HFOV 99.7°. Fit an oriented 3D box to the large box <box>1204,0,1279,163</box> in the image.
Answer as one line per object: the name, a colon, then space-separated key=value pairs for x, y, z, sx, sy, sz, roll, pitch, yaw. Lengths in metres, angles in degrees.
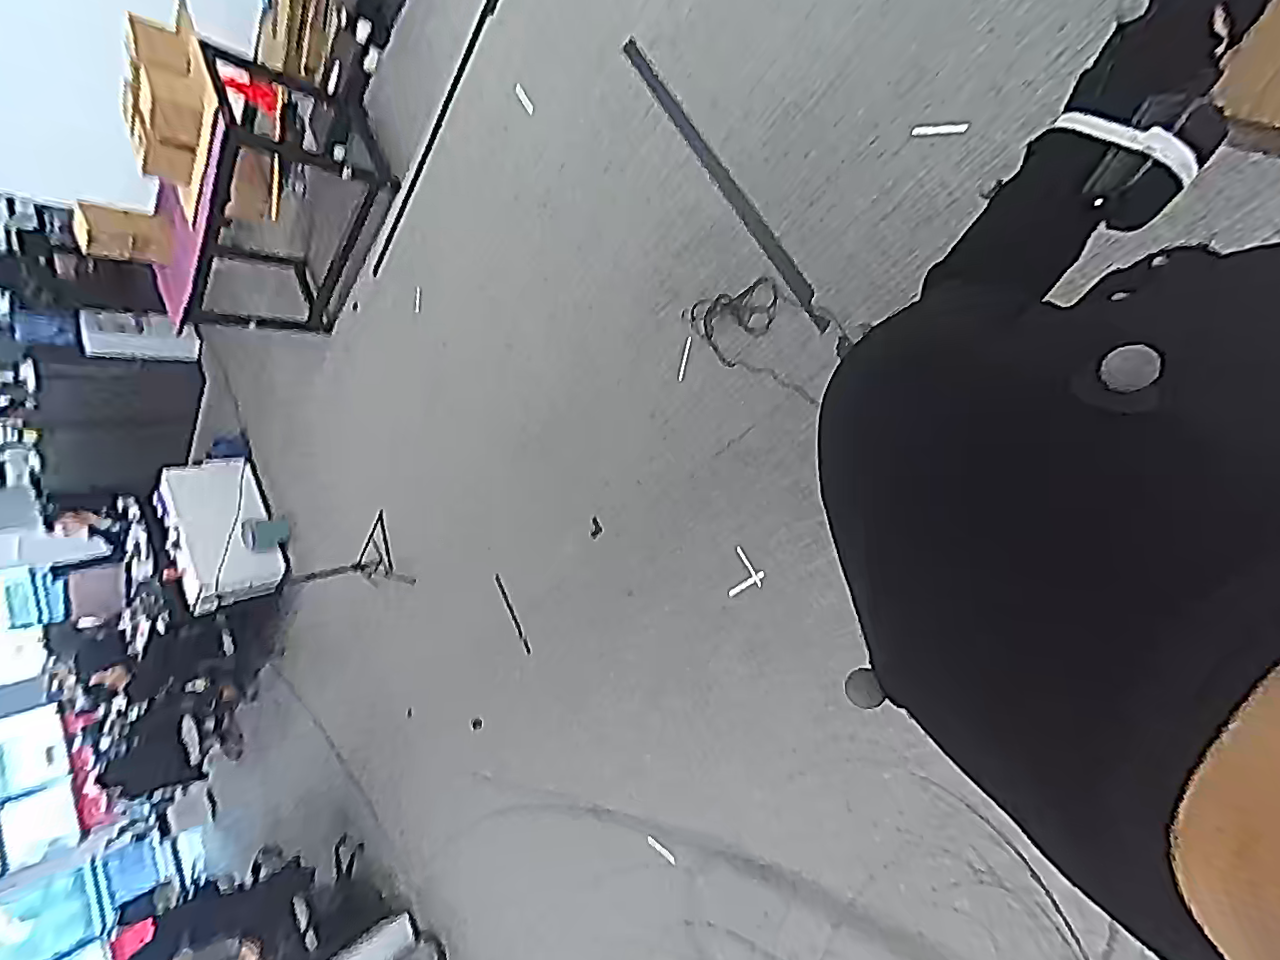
large box: x=0.639 y=-0.310 z=0.273 sx=0.408 sy=0.320 sz=0.320 roll=38 pitch=134 yaw=28
